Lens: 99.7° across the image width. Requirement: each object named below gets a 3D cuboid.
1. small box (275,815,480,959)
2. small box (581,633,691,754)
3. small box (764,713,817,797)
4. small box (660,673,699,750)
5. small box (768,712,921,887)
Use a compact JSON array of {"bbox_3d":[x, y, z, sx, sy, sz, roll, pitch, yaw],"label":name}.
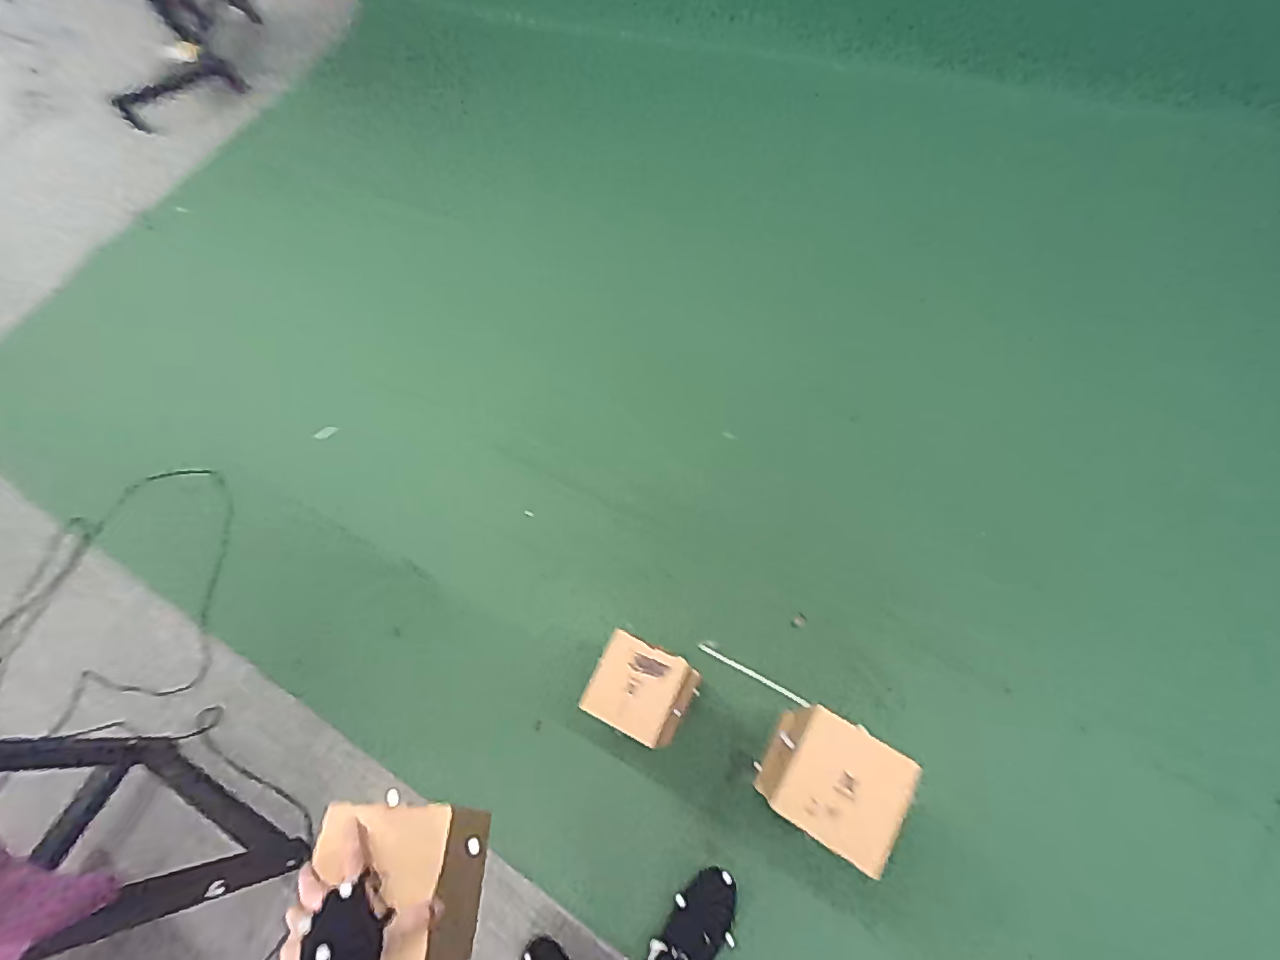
[{"bbox_3d":[-0.317,0.535,0.688,0.168,0.176,0.179,-2,56,5],"label":"small box"},{"bbox_3d":[0.001,0.453,1.150,0.168,0.176,0.179,22,71,19],"label":"small box"},{"bbox_3d":[0.349,0.573,1.037,0.168,0.176,0.179,28,72,19],"label":"small box"},{"bbox_3d":[0.035,0.520,1.296,0.168,0.176,0.179,25,71,19],"label":"small box"},{"bbox_3d":[0.322,0.507,0.888,0.168,0.176,0.179,28,73,19],"label":"small box"}]
